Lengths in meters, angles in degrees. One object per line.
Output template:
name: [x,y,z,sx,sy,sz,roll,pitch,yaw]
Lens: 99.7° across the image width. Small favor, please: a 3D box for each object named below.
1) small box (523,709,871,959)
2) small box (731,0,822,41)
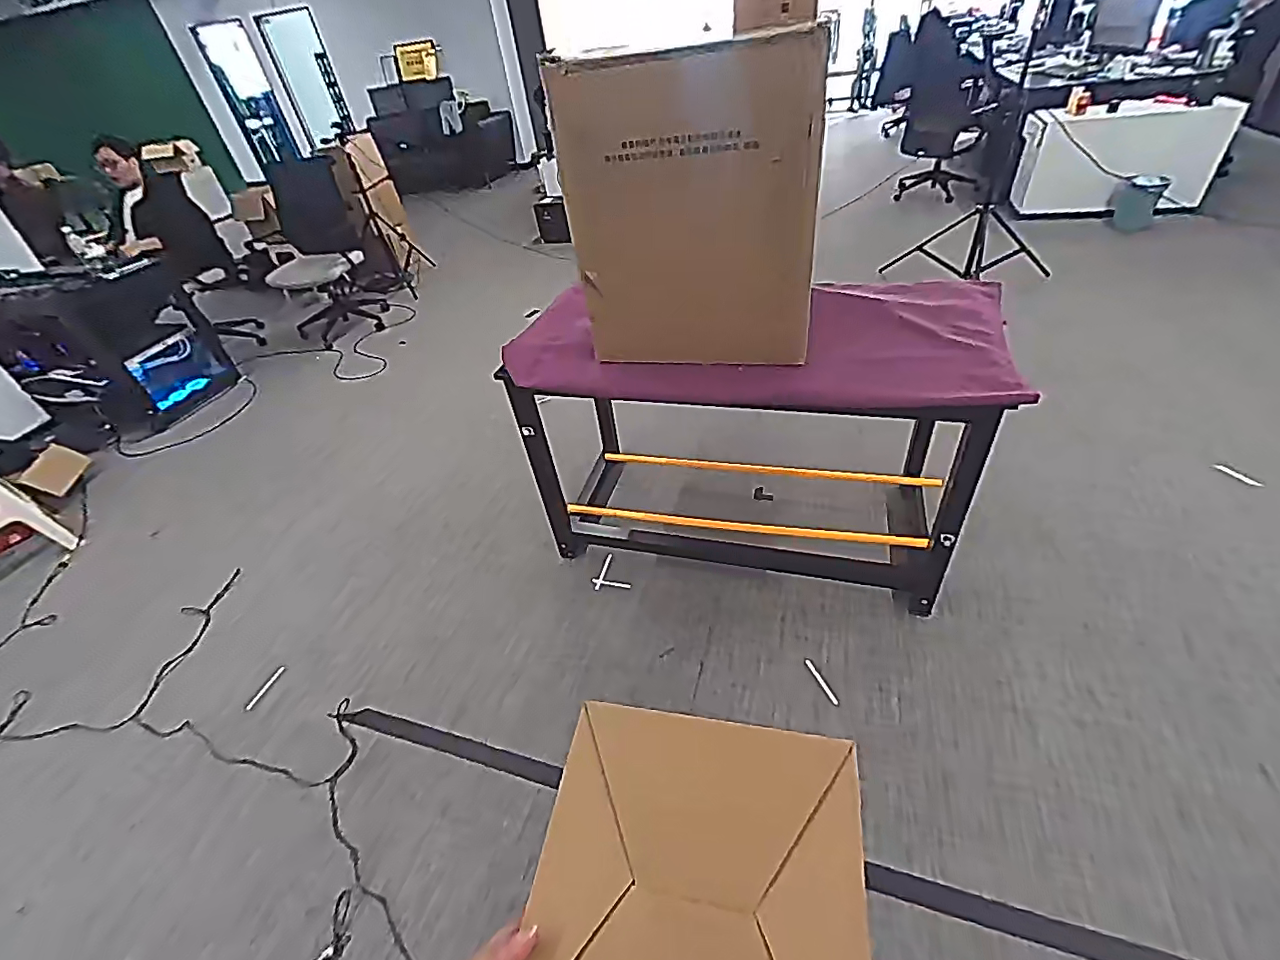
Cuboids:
small box: [0.039,0.268,0.329,0.168,0.176,0.179,3,46,14]
small box: [0.274,-0.989,1.070,0.168,0.176,0.179,5,42,18]
